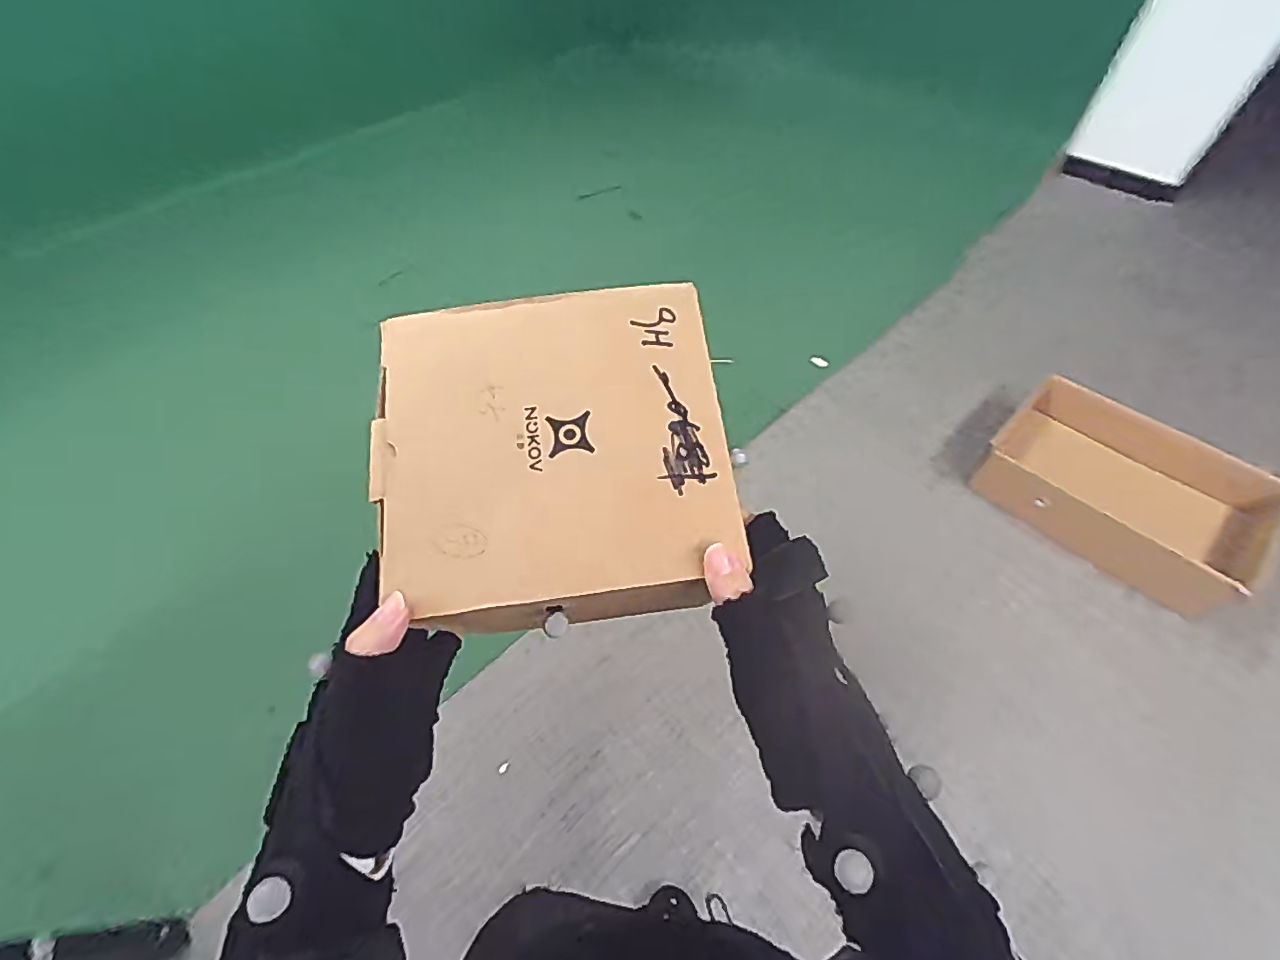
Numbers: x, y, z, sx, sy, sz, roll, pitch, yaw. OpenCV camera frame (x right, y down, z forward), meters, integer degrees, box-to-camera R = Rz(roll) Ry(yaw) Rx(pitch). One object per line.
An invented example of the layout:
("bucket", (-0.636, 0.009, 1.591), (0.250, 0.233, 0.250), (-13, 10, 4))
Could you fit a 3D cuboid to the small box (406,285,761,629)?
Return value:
("small box", (-0.036, 0.000, 0.364), (0.179, 0.176, 0.168), (-9, 71, -3))
